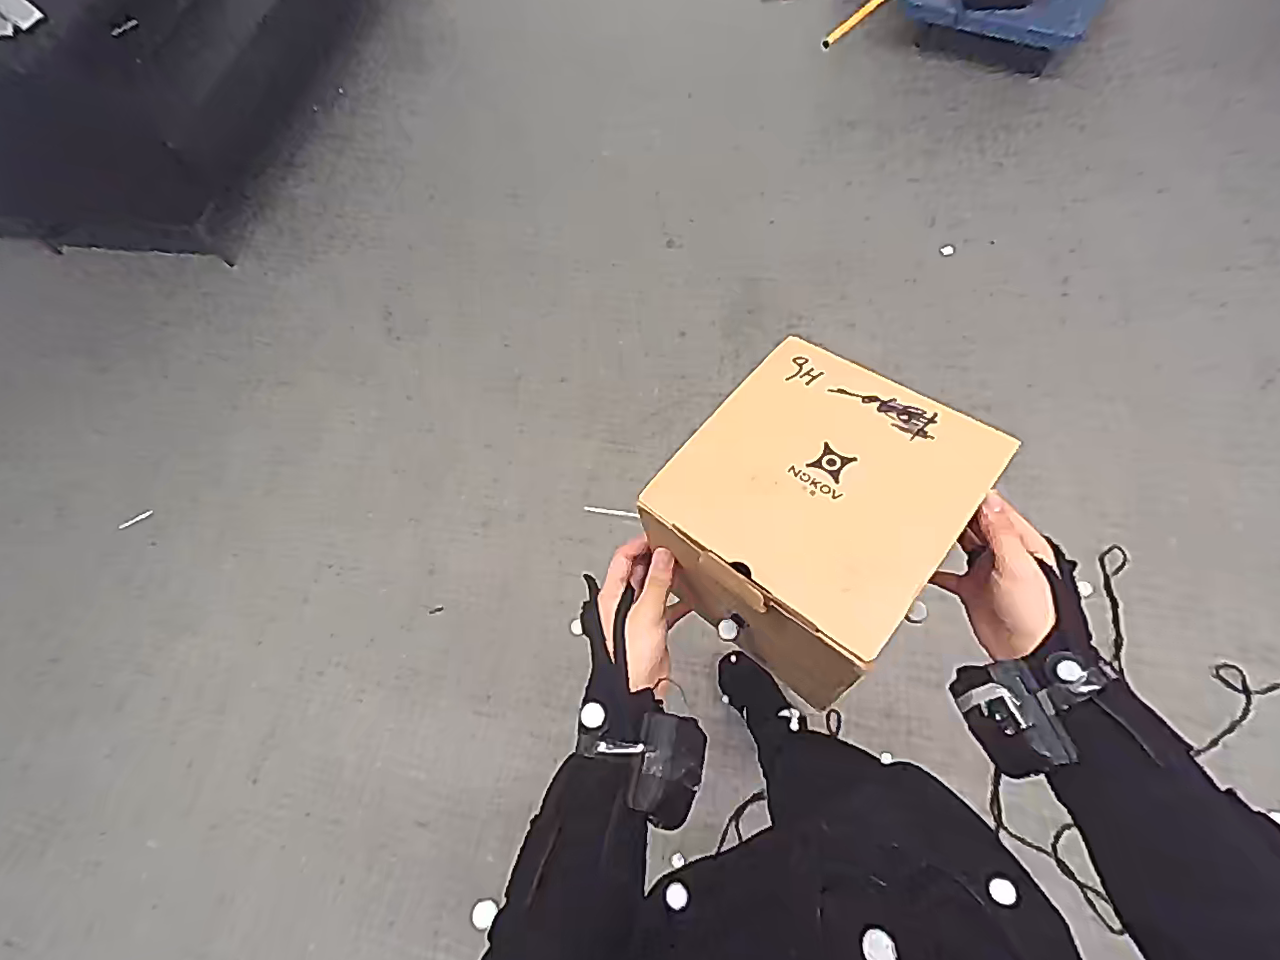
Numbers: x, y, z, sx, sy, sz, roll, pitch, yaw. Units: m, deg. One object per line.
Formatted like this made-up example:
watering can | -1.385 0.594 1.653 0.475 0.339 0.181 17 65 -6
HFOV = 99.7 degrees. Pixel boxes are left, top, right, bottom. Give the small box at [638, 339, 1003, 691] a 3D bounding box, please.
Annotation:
small box | 0.126 0.034 0.416 0.168 0.176 0.179 35 72 26
